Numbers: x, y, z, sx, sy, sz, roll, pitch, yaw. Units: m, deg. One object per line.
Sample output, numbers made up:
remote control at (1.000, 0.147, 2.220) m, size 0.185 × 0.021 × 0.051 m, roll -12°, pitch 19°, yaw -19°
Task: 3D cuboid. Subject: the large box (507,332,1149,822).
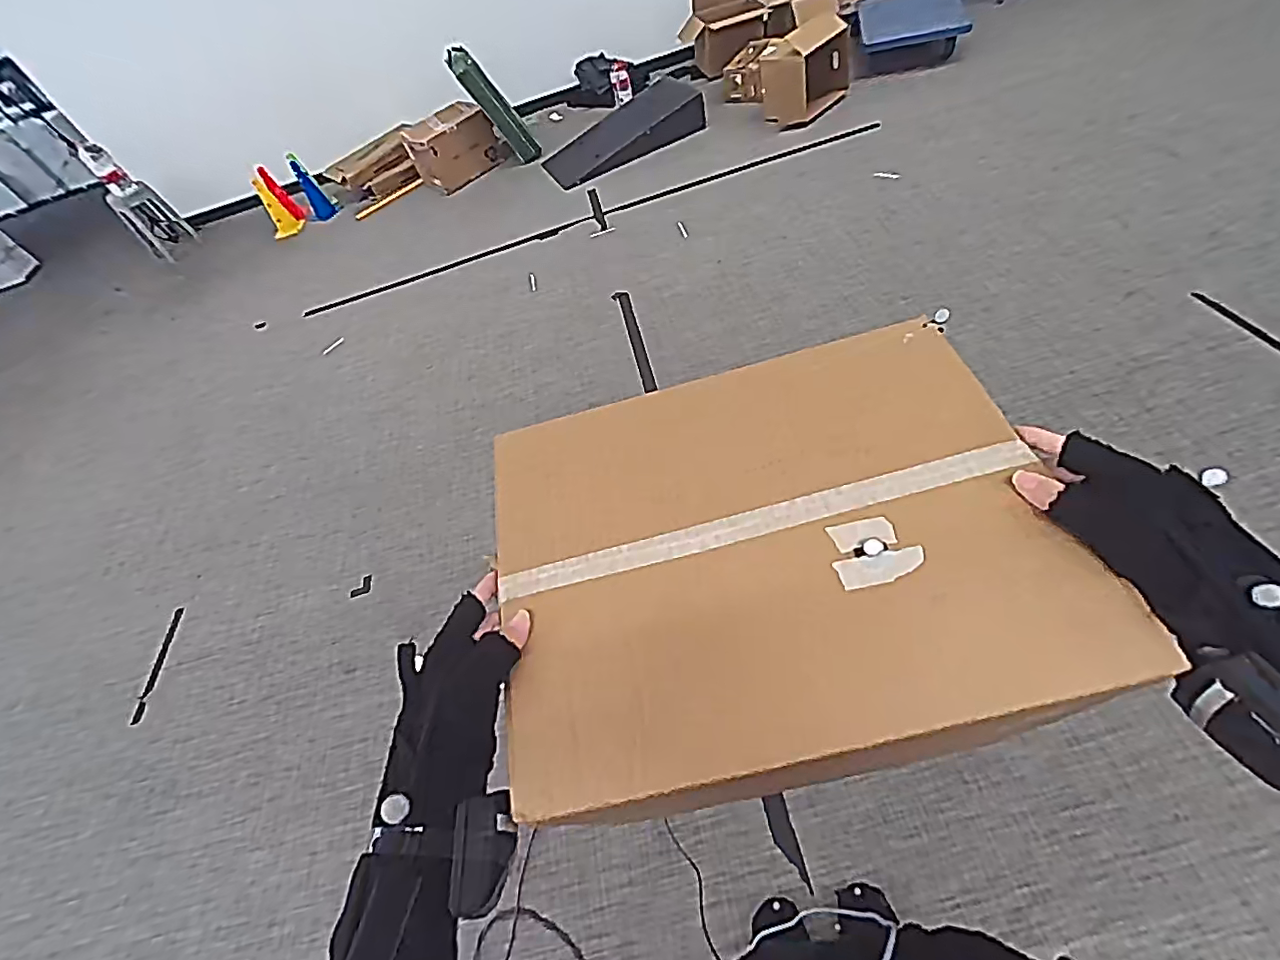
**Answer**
large box at (0.119, 0.118, 0.542) m, size 0.408 × 0.320 × 0.320 m, roll -15°, pitch 56°, yaw 3°
